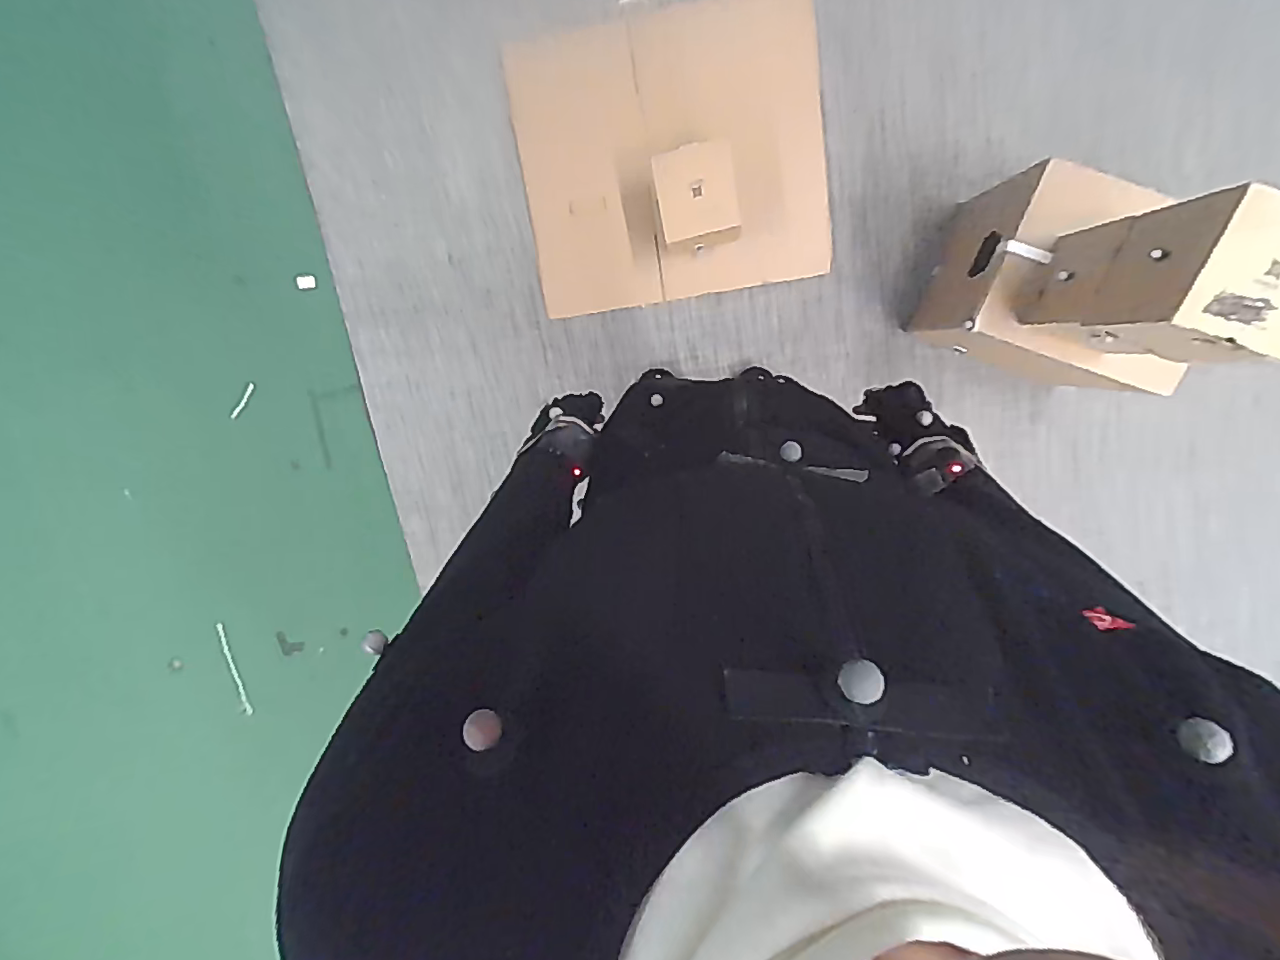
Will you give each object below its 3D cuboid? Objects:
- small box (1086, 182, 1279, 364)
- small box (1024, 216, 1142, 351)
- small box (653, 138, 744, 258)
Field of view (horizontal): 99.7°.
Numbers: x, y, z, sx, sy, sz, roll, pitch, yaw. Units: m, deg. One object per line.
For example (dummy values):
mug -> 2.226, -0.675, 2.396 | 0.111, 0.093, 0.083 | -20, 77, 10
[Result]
small box -> 0.781, -0.272, 0.750 | 0.168, 0.176, 0.179 | 20, 103, -1
small box -> 0.802, -0.317, 0.910 | 0.179, 0.176, 0.168 | 15, 102, 0
small box -> 0.131, -0.610, 1.194 | 0.168, 0.176, 0.179 | -11, 102, 11
